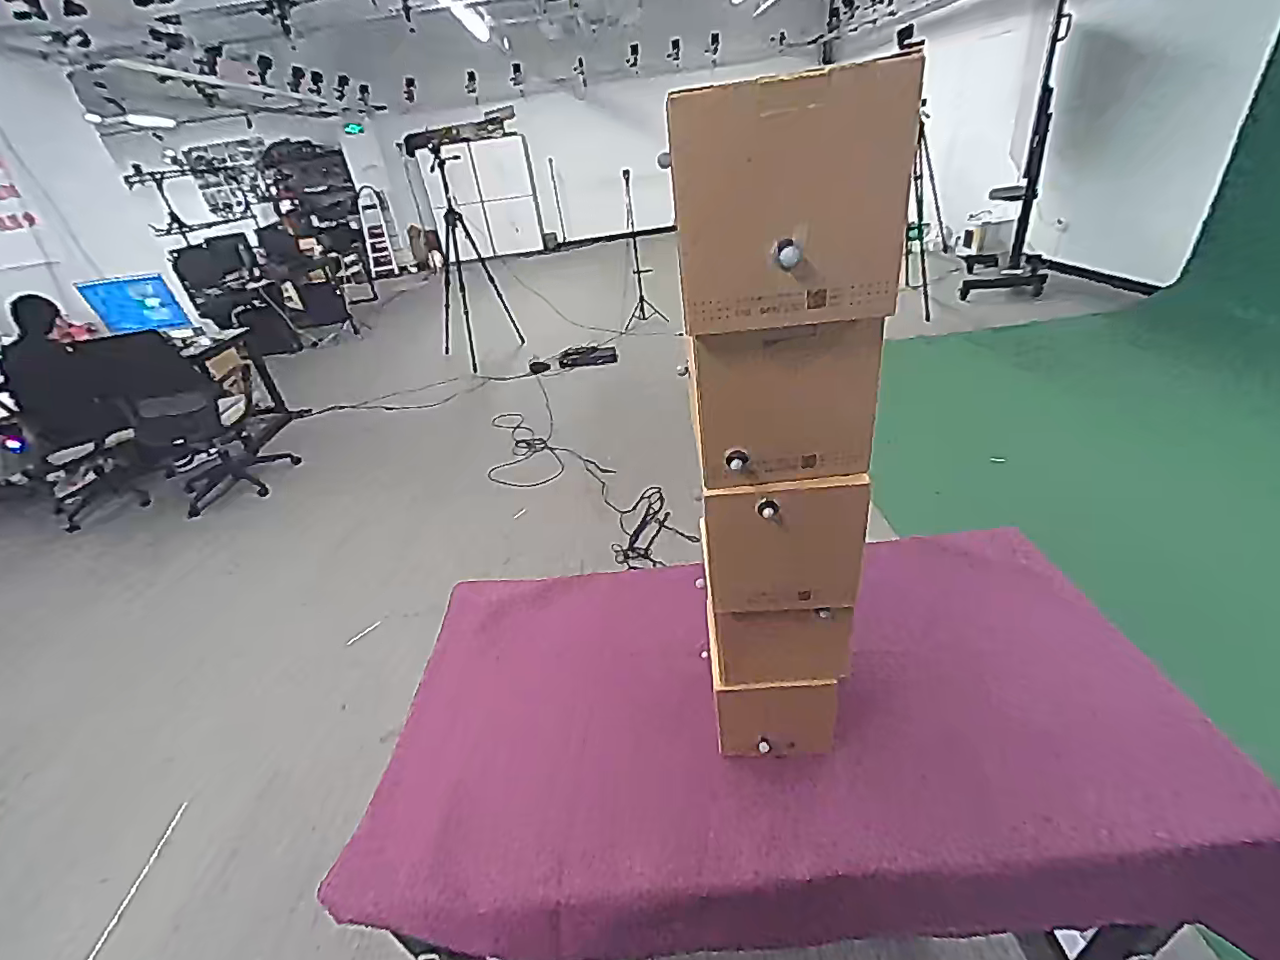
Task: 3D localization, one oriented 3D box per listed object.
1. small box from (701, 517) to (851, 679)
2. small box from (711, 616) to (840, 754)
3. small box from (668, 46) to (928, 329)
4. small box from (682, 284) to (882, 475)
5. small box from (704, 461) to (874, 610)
[{"bbox_3d":[0.183,0.156,0.747,0.179,0.176,0.168,-6,32,5],"label":"small box"},{"bbox_3d":[0.198,0.292,0.832,0.168,0.176,0.179,-6,33,7],"label":"small box"},{"bbox_3d":[0.117,-0.238,0.457,0.168,0.176,0.179,-4,33,9],"label":"small box"},{"bbox_3d":[0.137,-0.114,0.566,0.168,0.176,0.179,-6,31,4],"label":"small box"},{"bbox_3d":[0.162,0.031,0.641,0.168,0.176,0.179,-5,31,8],"label":"small box"}]
